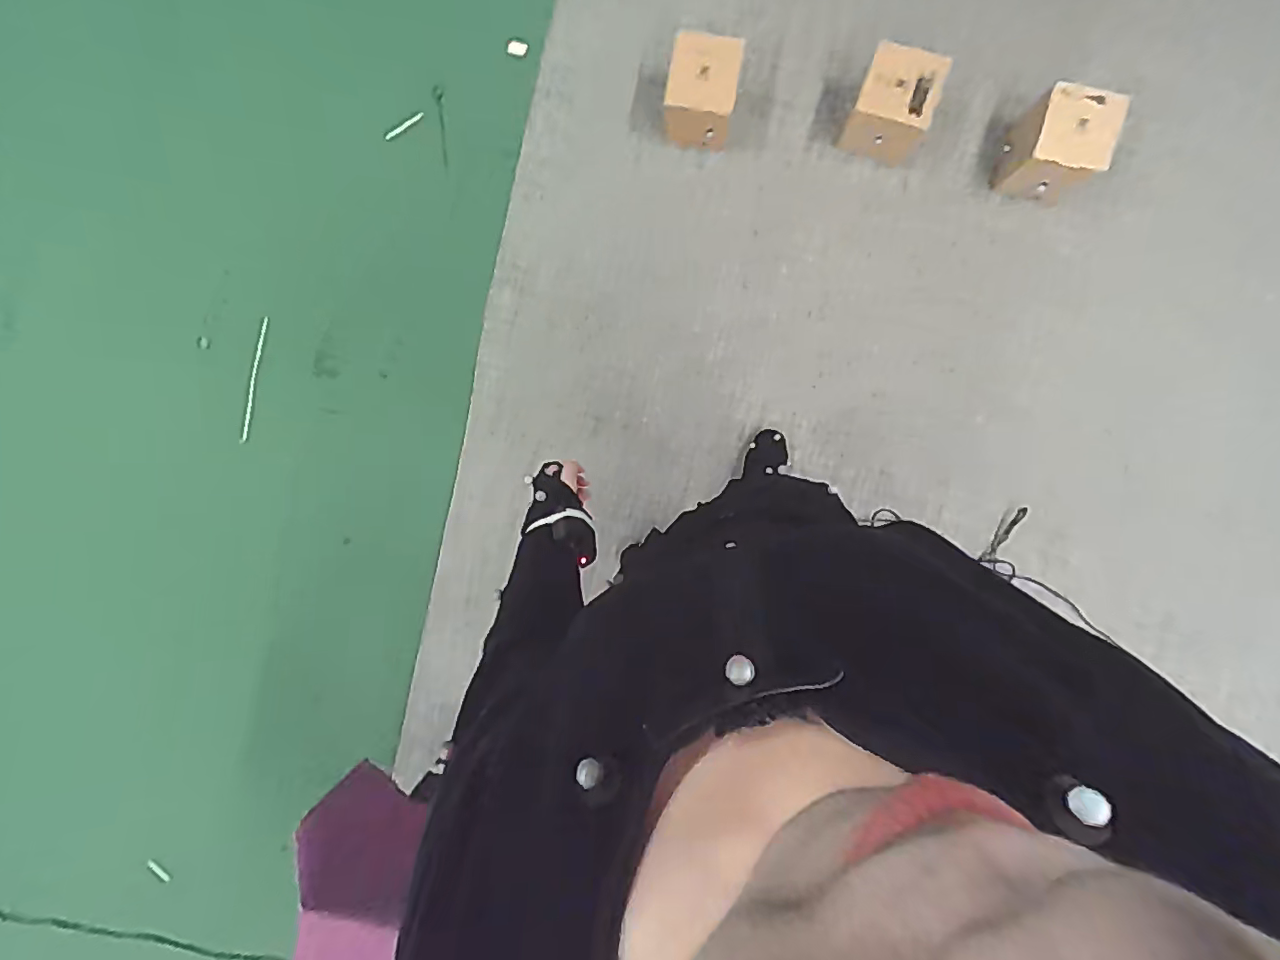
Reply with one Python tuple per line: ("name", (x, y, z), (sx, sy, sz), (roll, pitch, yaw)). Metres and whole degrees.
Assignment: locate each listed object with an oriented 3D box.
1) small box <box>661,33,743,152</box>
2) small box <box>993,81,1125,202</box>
("small box", (0.154, -0.968, 1.365), (0.168, 0.176, 0.179), (12, 93, 3))
("small box", (0.993, -0.803, 1.300), (0.168, 0.176, 0.179), (16, 95, 4))
